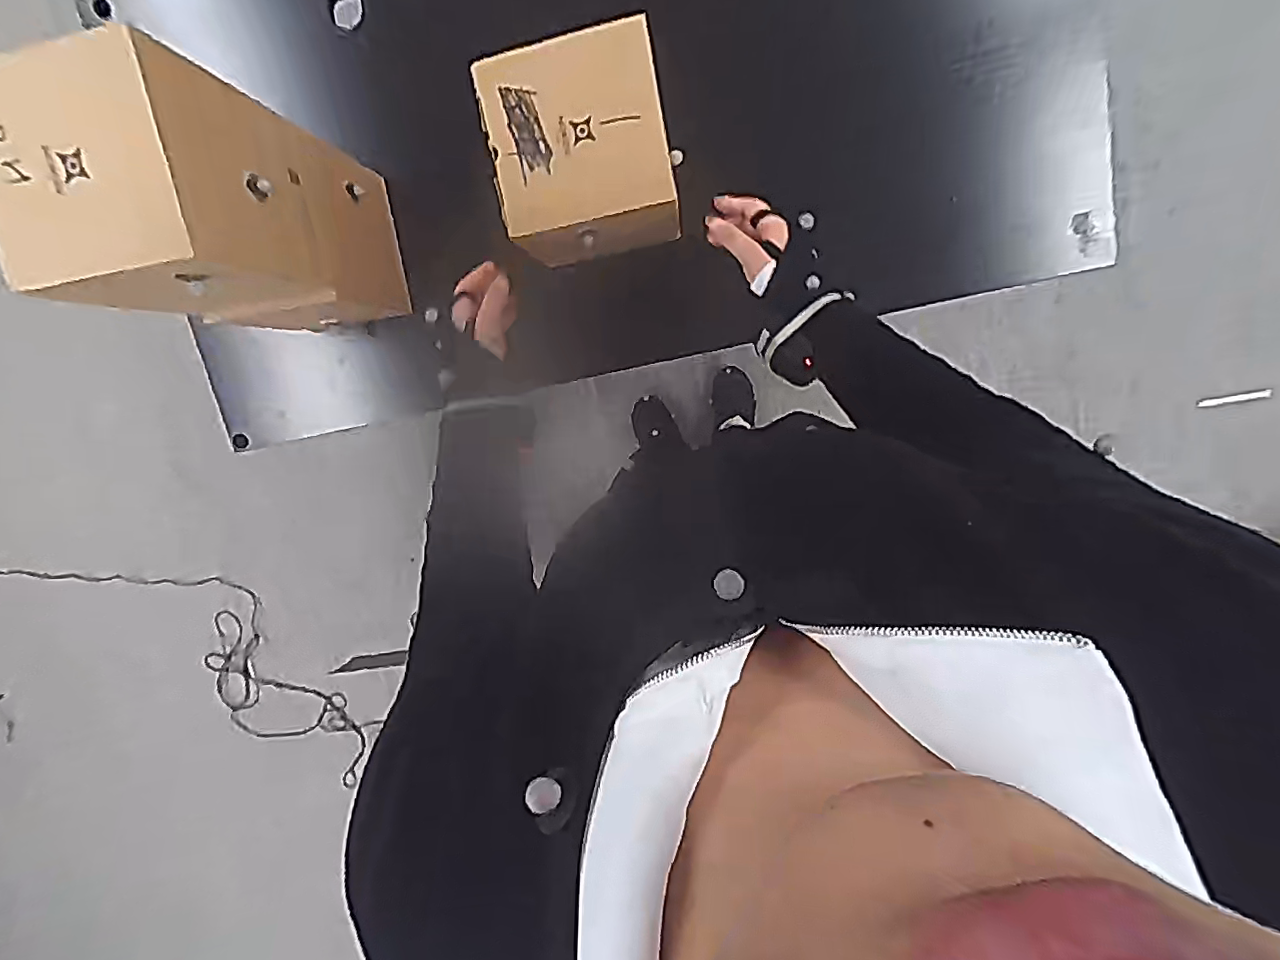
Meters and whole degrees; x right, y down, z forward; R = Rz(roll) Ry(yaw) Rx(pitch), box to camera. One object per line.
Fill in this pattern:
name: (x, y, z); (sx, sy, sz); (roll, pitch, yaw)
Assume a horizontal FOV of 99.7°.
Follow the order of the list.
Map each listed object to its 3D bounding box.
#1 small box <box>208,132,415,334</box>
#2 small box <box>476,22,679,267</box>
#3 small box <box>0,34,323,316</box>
small box: (-0.406, -0.282, 0.659); (0.168, 0.176, 0.179); (-7, 102, 8)
small box: (-0.055, -0.353, 0.608); (0.179, 0.176, 0.168); (-10, 101, 7)
small box: (-0.428, -0.254, 0.498); (0.179, 0.176, 0.168); (-7, 100, 8)
